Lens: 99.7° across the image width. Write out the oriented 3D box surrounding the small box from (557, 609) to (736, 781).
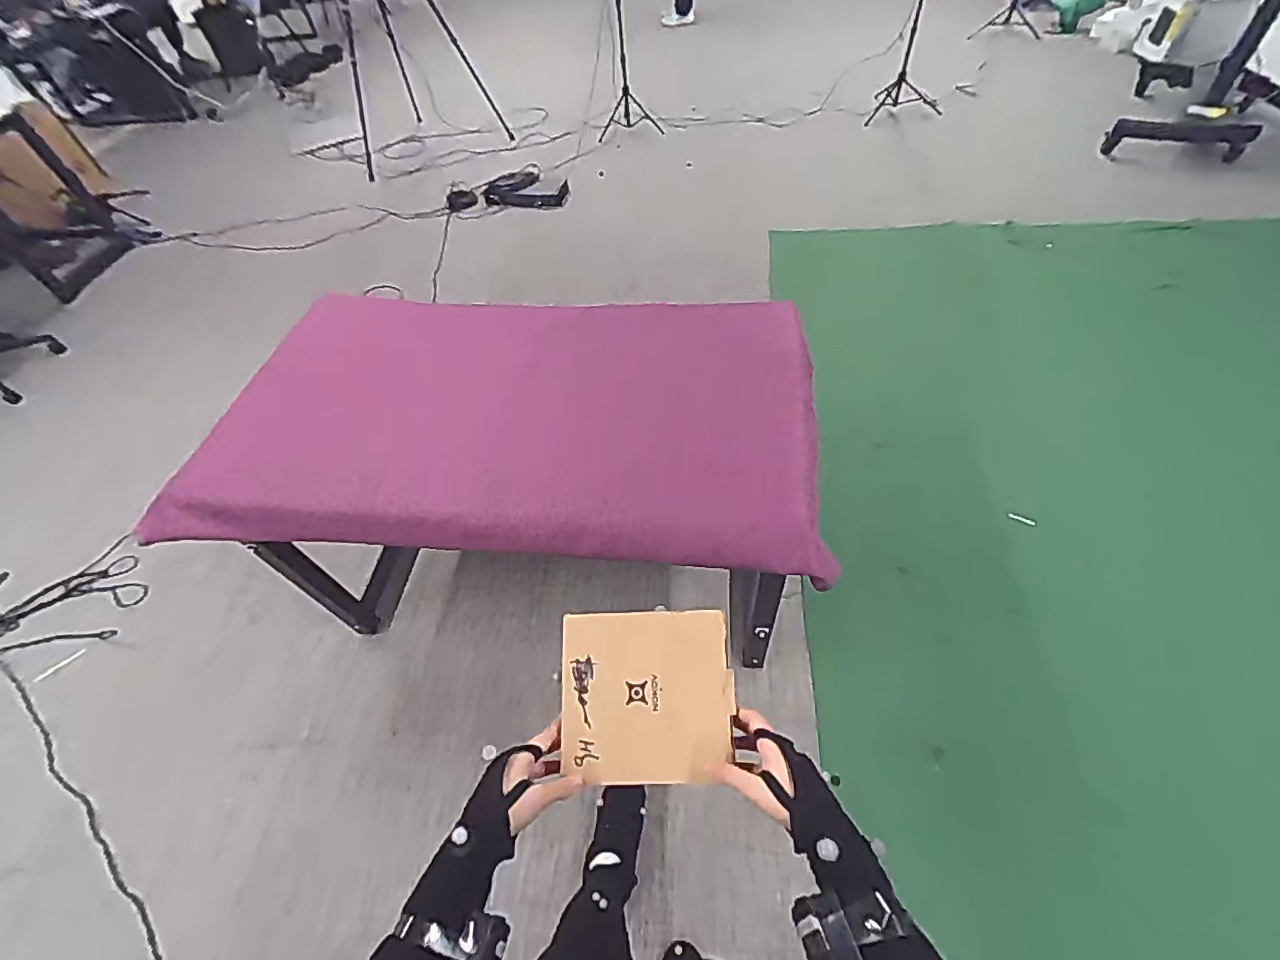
[{"bbox_3d":[0.009,0.241,0.624,0.179,0.176,0.168,-2,69,3],"label":"small box"}]
